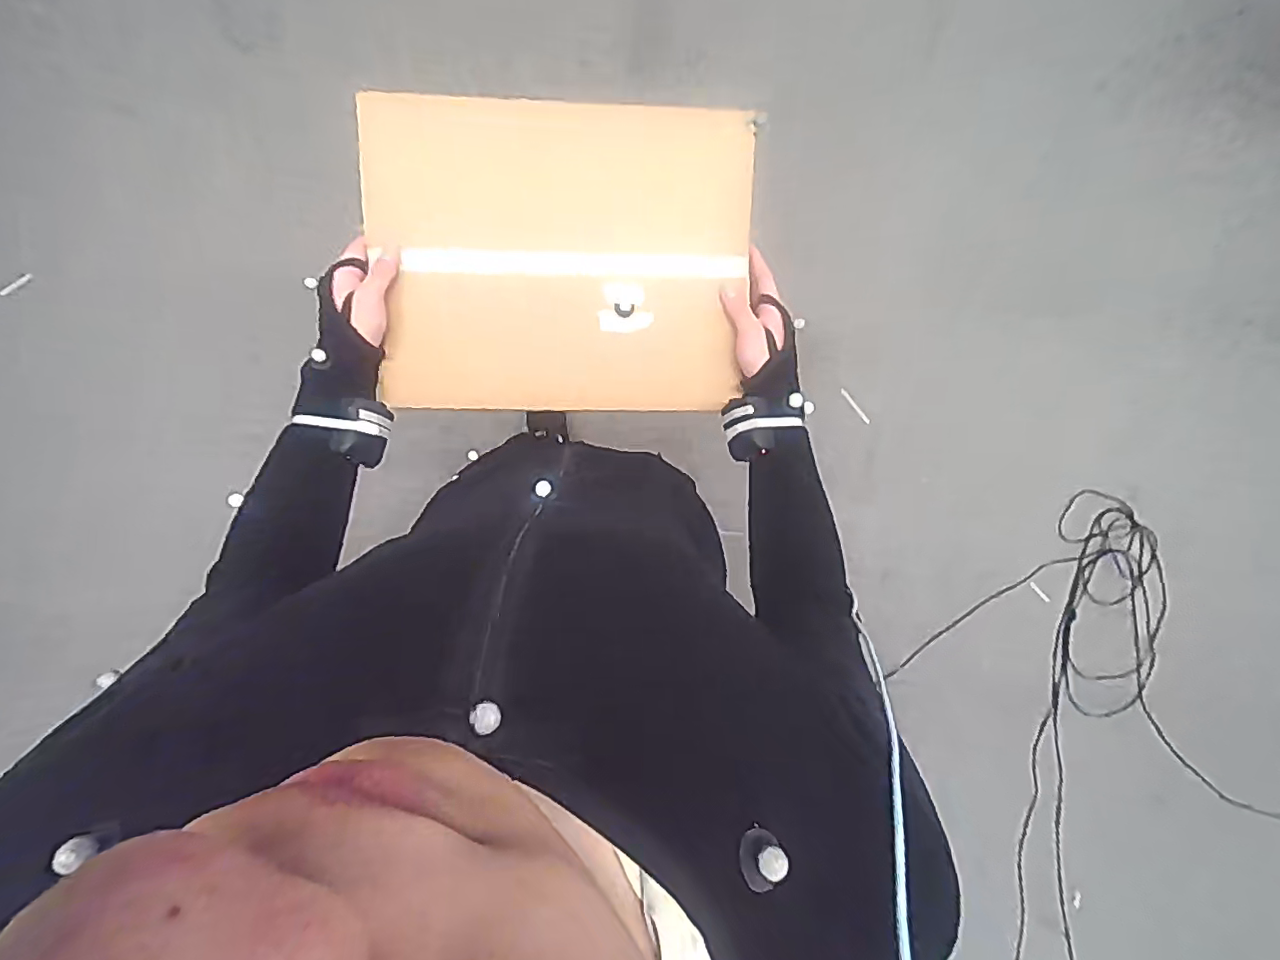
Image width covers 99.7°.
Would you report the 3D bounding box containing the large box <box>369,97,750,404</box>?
[{"bbox_3d":[-0.093,-0.267,0.737,0.408,0.320,0.320,0,101,-5],"label":"large box"}]
